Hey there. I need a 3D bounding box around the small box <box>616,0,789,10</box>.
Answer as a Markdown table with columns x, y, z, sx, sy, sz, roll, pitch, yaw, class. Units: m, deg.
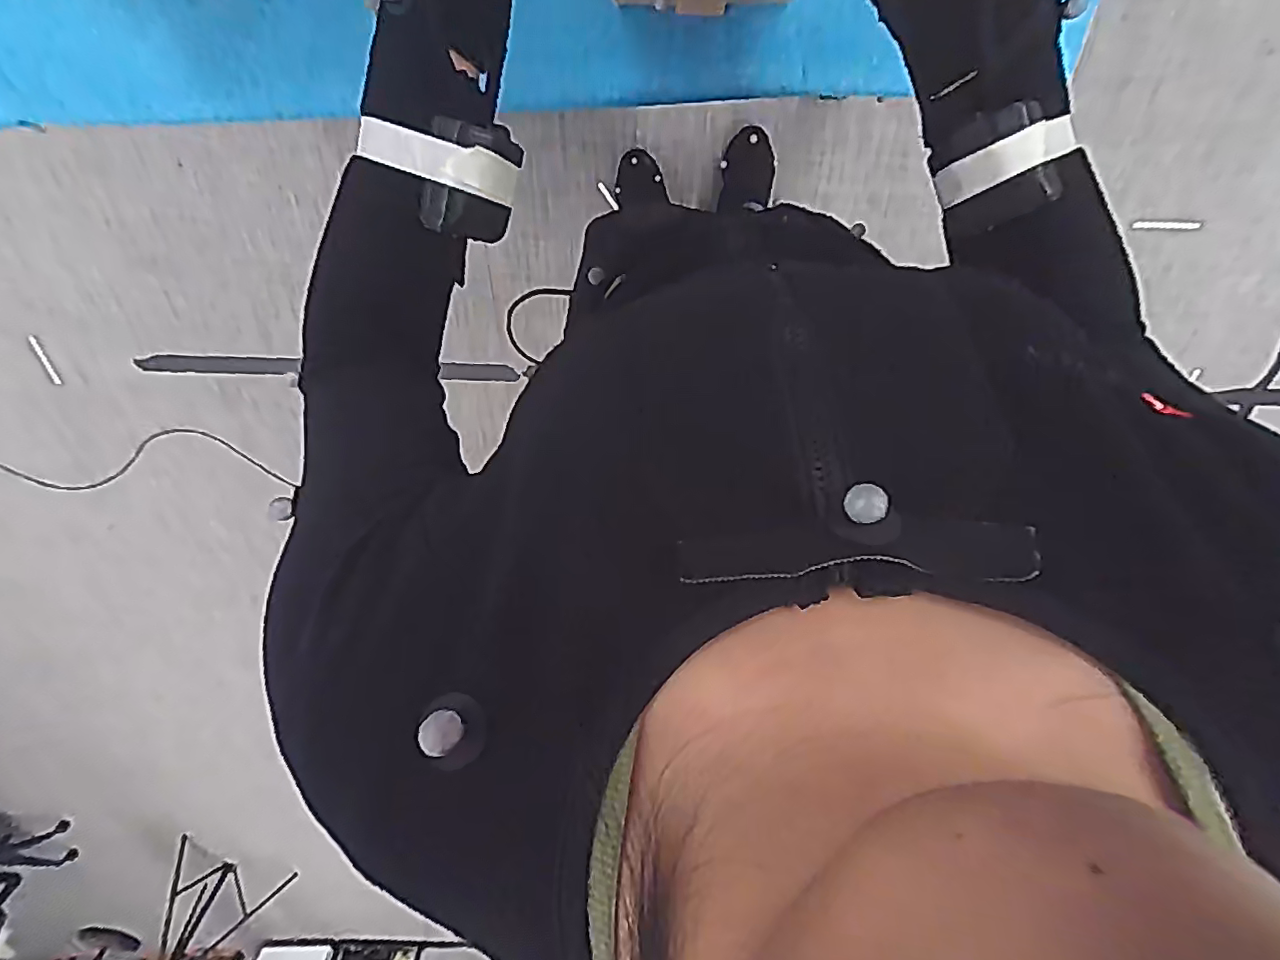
| x | y | z | sx | sy | sz | roll | pitch | yaw | class |
| --- | --- | --- | --- | --- | --- | --- | --- | --- | --- |
| 0.053 | -0.475 | 0.393 | 0.168 | 0.176 | 0.179 | 0 | 122 | 1 | small box |
